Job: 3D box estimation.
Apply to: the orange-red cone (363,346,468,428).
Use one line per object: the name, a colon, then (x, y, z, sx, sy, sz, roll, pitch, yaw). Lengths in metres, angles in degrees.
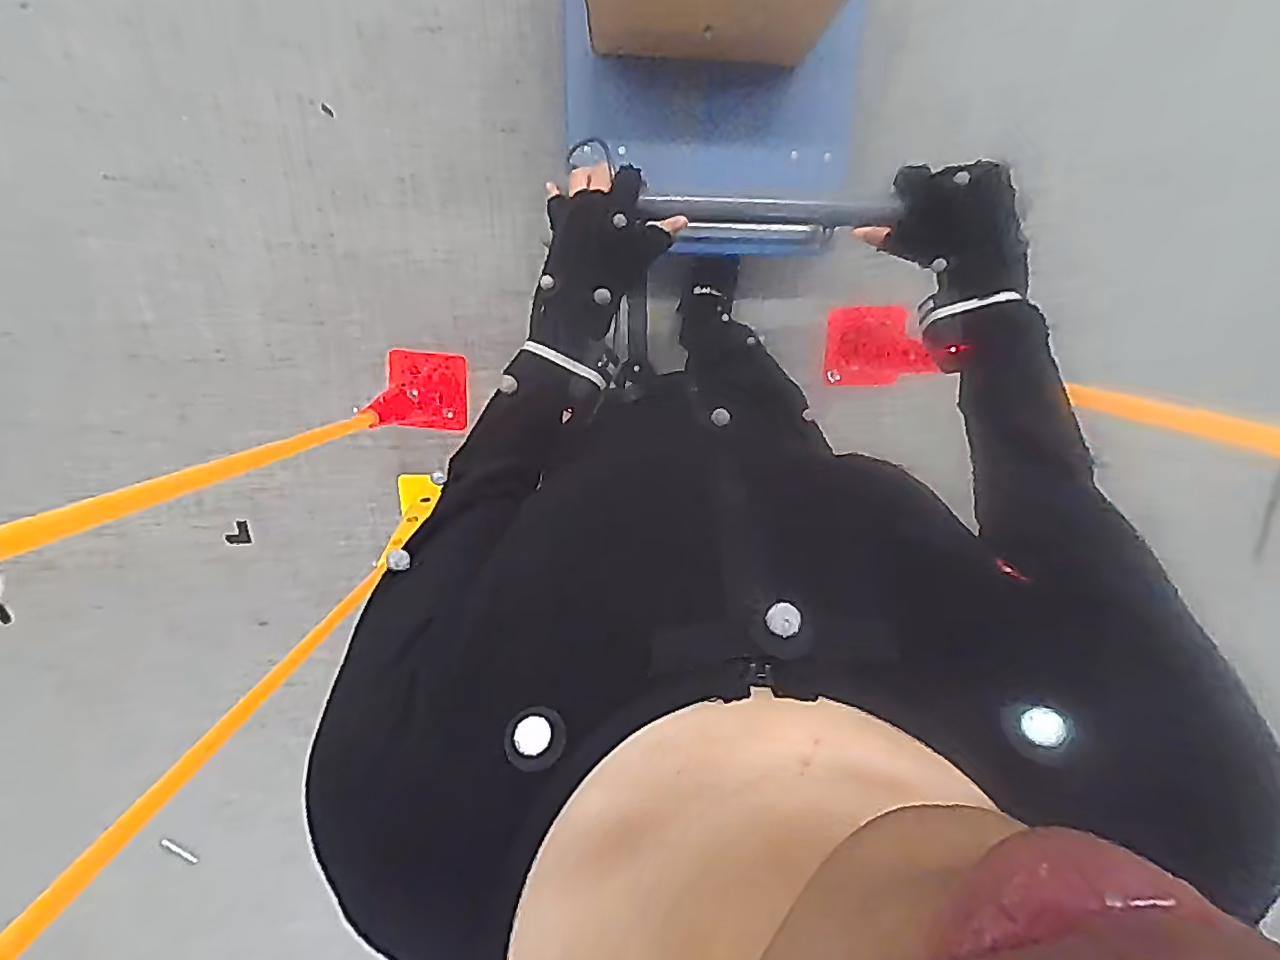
orange-red cone: (-0.538, -0.188, 1.233, 0.198, 0.360, 0.199, 5, 107, -4)

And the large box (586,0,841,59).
large box: (0.118, -0.915, 0.861, 0.408, 0.320, 0.320, 1, 109, -2)

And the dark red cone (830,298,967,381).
dark red cone: (0.590, -0.301, 1.209, 0.201, 0.394, 0.202, -2, 109, -3)
